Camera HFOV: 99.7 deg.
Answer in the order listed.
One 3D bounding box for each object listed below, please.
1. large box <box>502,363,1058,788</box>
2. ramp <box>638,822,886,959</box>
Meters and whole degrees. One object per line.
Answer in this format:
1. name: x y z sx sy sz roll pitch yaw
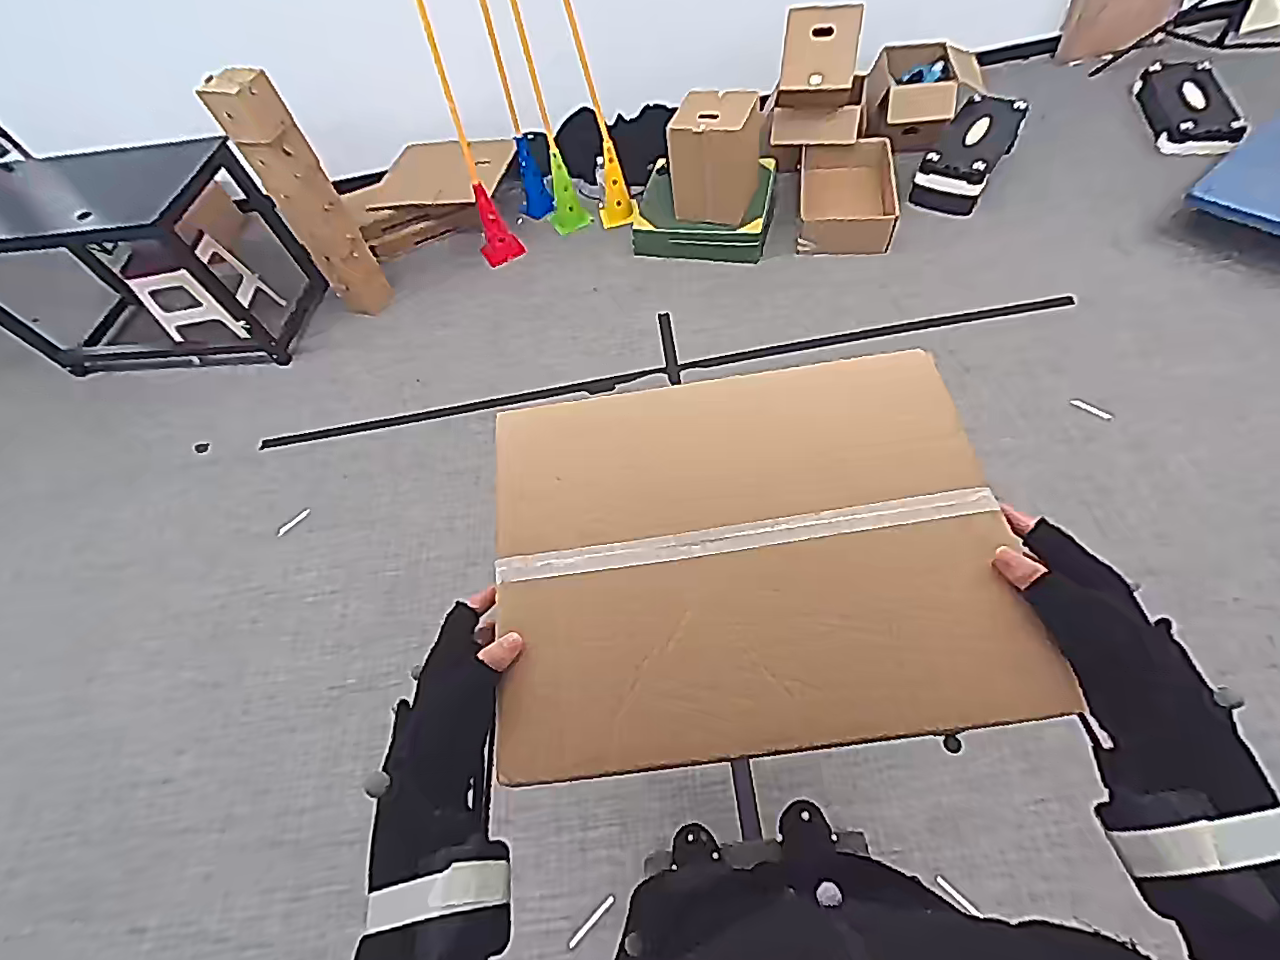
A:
1. large box: 0.097 0.117 0.581 0.408 0.320 0.320 -8 63 1
2. ramp: 0.298 1.248 1.020 0.509 0.206 0.991 -9 58 1
